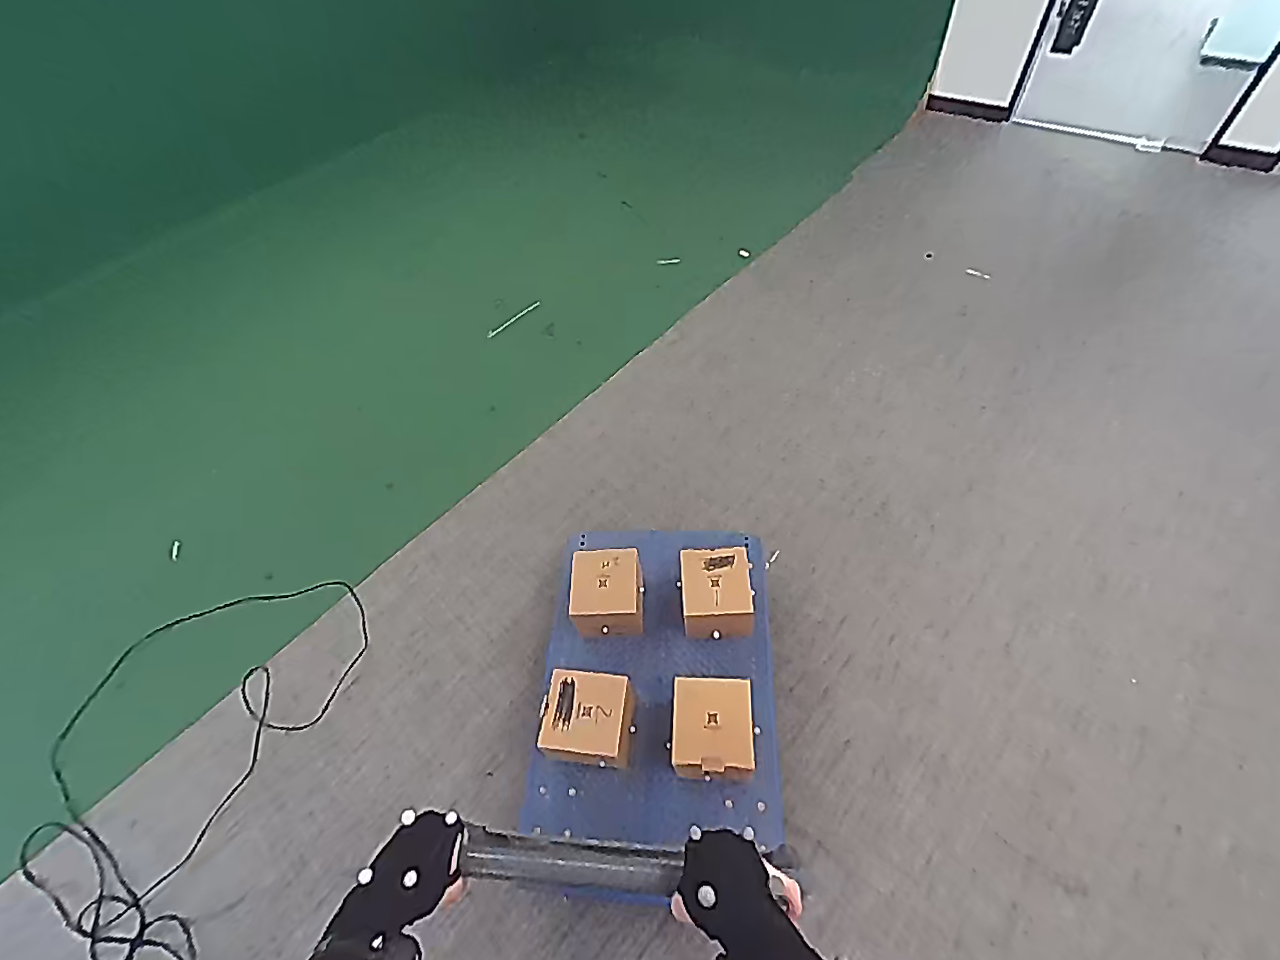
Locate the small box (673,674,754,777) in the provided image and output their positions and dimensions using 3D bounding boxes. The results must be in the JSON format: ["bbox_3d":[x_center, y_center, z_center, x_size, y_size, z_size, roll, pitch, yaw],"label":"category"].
[{"bbox_3d":[0.161,0.544,1.195,0.168,0.176,0.179,0,55,7],"label":"small box"}]

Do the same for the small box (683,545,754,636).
[{"bbox_3d":[0.194,0.283,1.374,0.168,0.176,0.179,-3,55,5],"label":"small box"}]

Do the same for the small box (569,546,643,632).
[{"bbox_3d":[-0.080,0.287,1.404,0.168,0.176,0.179,-2,55,4],"label":"small box"}]
